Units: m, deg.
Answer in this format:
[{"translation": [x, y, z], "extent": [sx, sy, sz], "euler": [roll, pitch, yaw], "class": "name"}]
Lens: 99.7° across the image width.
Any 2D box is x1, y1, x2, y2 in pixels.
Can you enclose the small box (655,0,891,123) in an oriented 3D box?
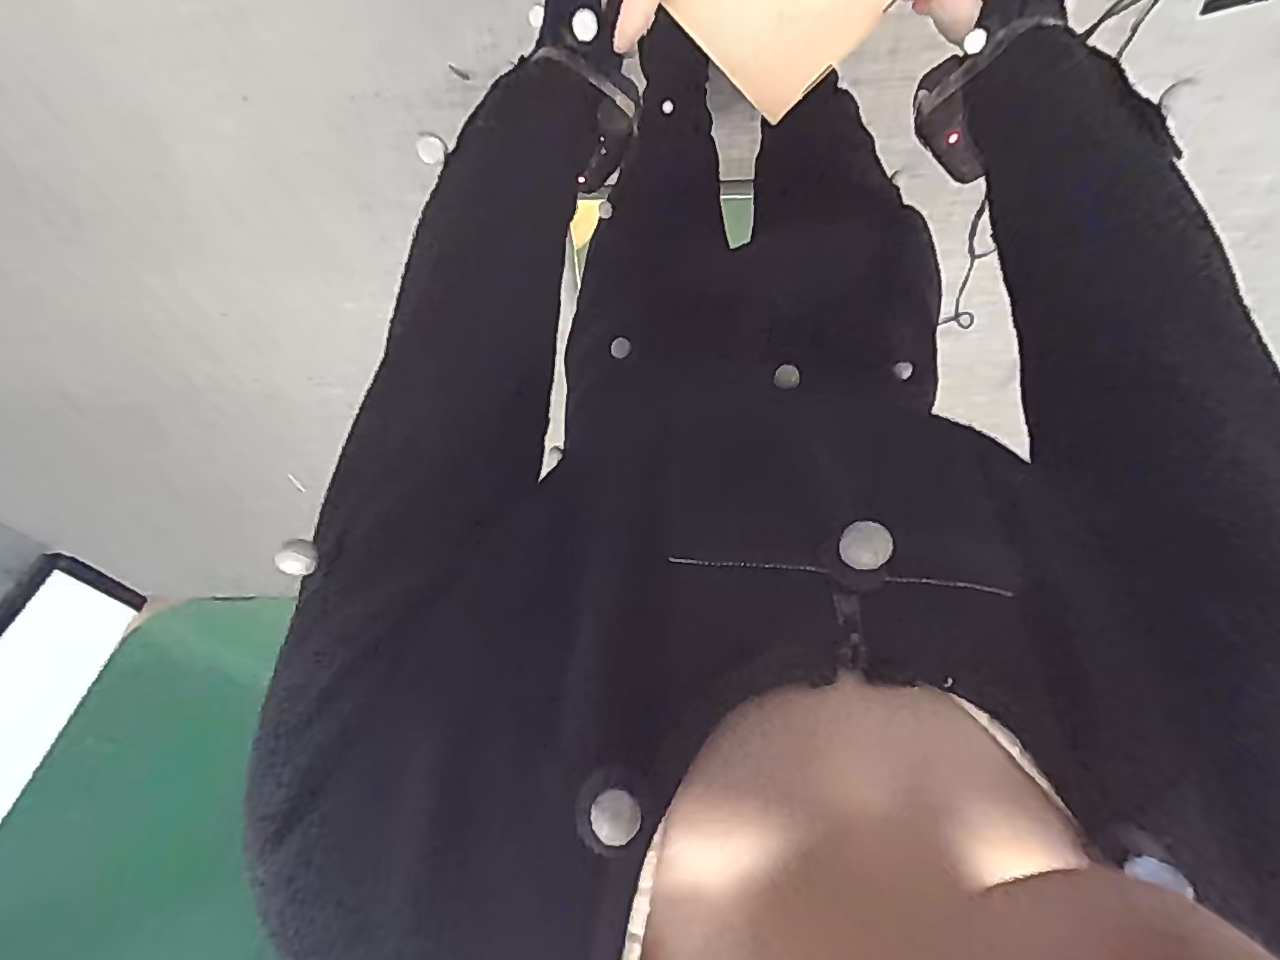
[{"translation": [0.101, -0.442, 0.419], "extent": [0.179, 0.176, 0.168], "euler": [25, 141, -33], "class": "small box"}]
